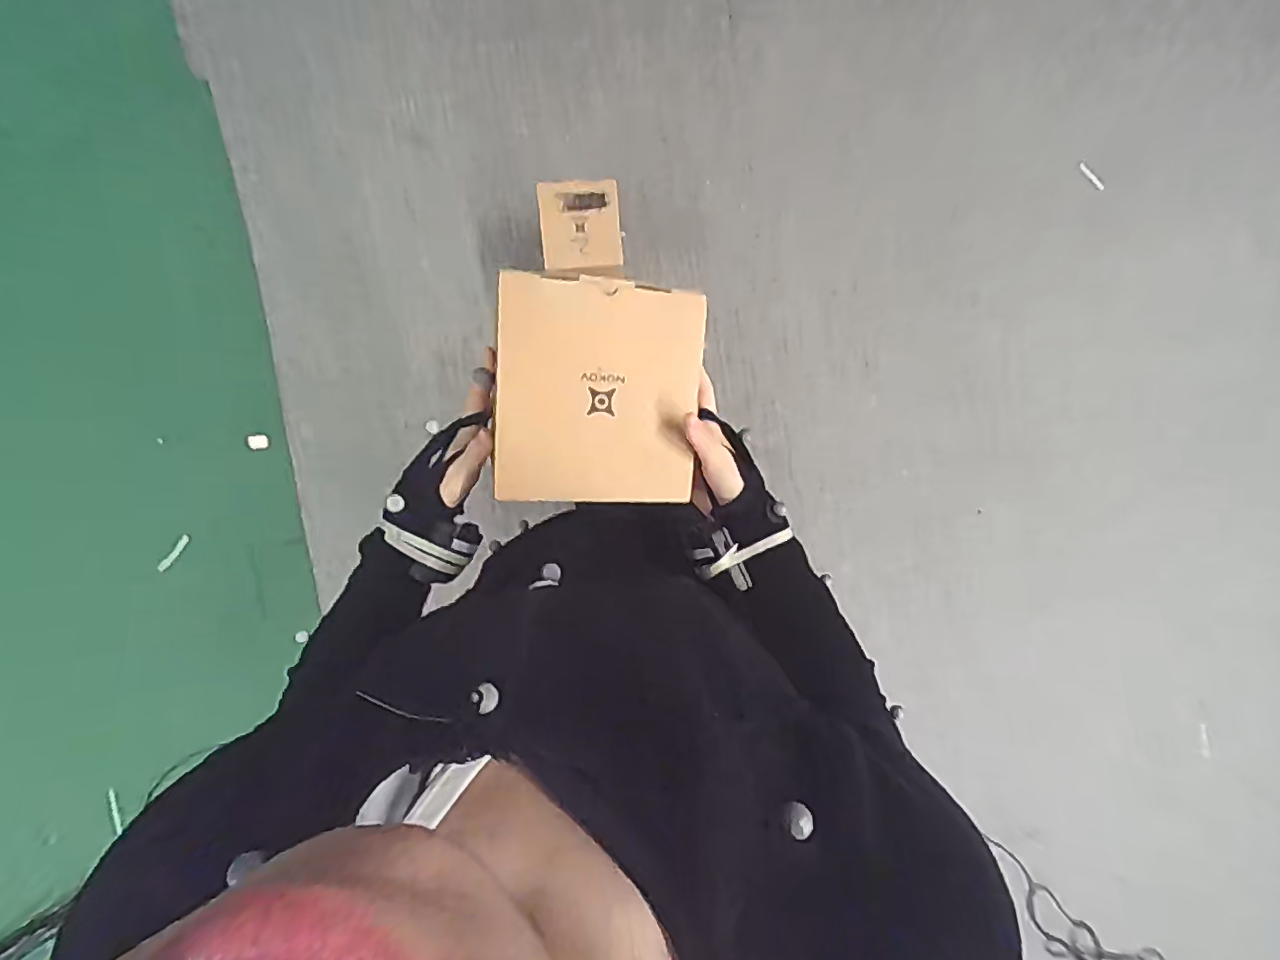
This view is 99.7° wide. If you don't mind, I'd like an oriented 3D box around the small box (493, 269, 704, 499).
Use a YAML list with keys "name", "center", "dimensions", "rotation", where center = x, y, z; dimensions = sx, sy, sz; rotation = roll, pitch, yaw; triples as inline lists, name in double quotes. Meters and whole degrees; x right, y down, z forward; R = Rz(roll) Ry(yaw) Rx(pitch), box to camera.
- name: "small box"
  center: [-0.051, -0.086, 0.513]
  dimensions: [0.168, 0.176, 0.179]
  rotation: [1, 100, -15]

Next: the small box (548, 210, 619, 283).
- name: "small box"
  center: [-0.137, -0.557, 1.358]
  dimensions: [0.168, 0.176, 0.179]
  rotation: [-2, 96, -4]
